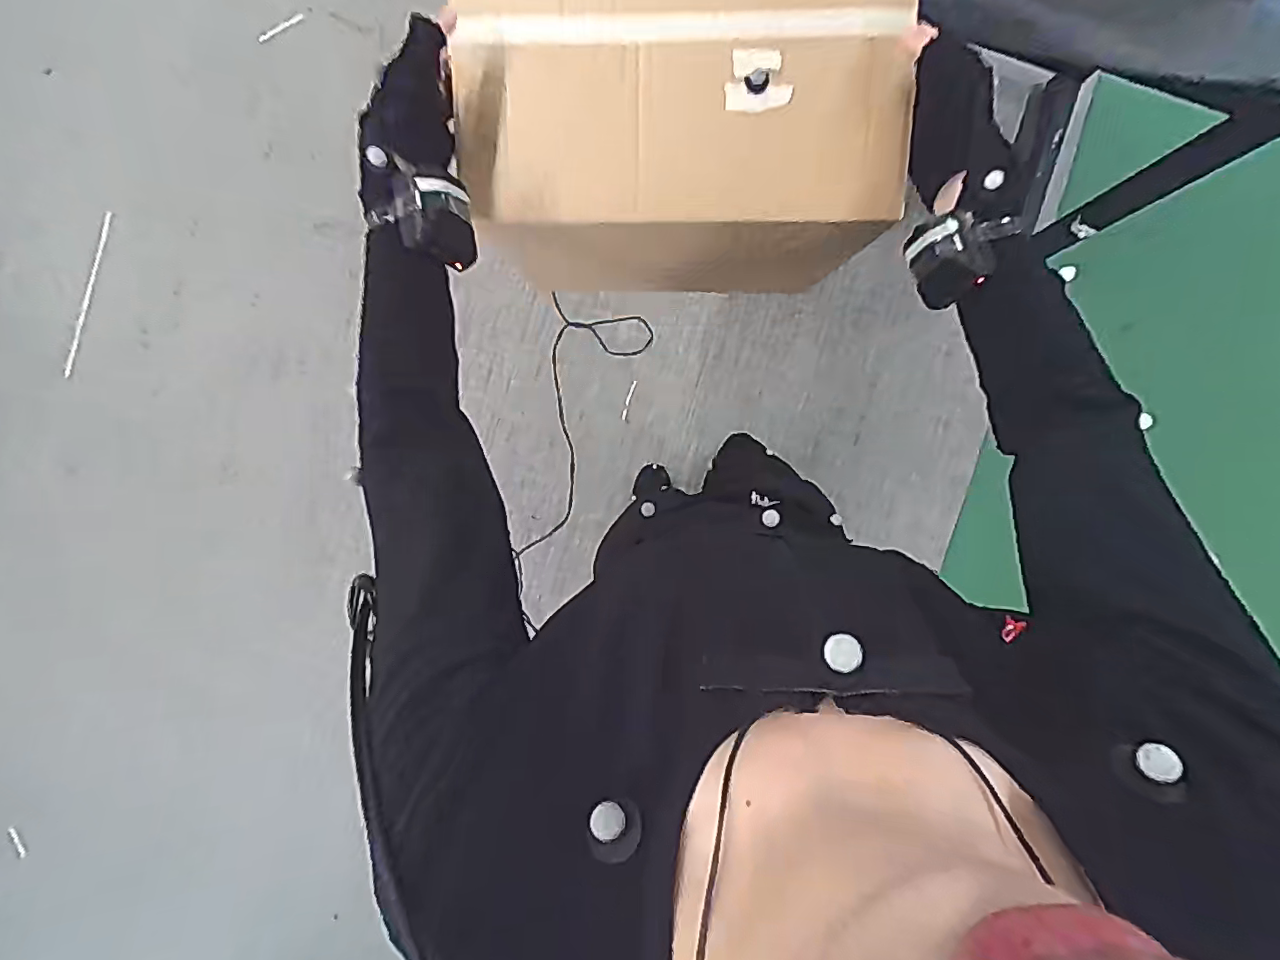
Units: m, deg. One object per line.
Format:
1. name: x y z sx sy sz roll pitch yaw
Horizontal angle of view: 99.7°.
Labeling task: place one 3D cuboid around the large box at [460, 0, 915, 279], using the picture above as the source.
1. large box: 0.039 -0.425 0.617 0.408 0.320 0.320 1 99 0
